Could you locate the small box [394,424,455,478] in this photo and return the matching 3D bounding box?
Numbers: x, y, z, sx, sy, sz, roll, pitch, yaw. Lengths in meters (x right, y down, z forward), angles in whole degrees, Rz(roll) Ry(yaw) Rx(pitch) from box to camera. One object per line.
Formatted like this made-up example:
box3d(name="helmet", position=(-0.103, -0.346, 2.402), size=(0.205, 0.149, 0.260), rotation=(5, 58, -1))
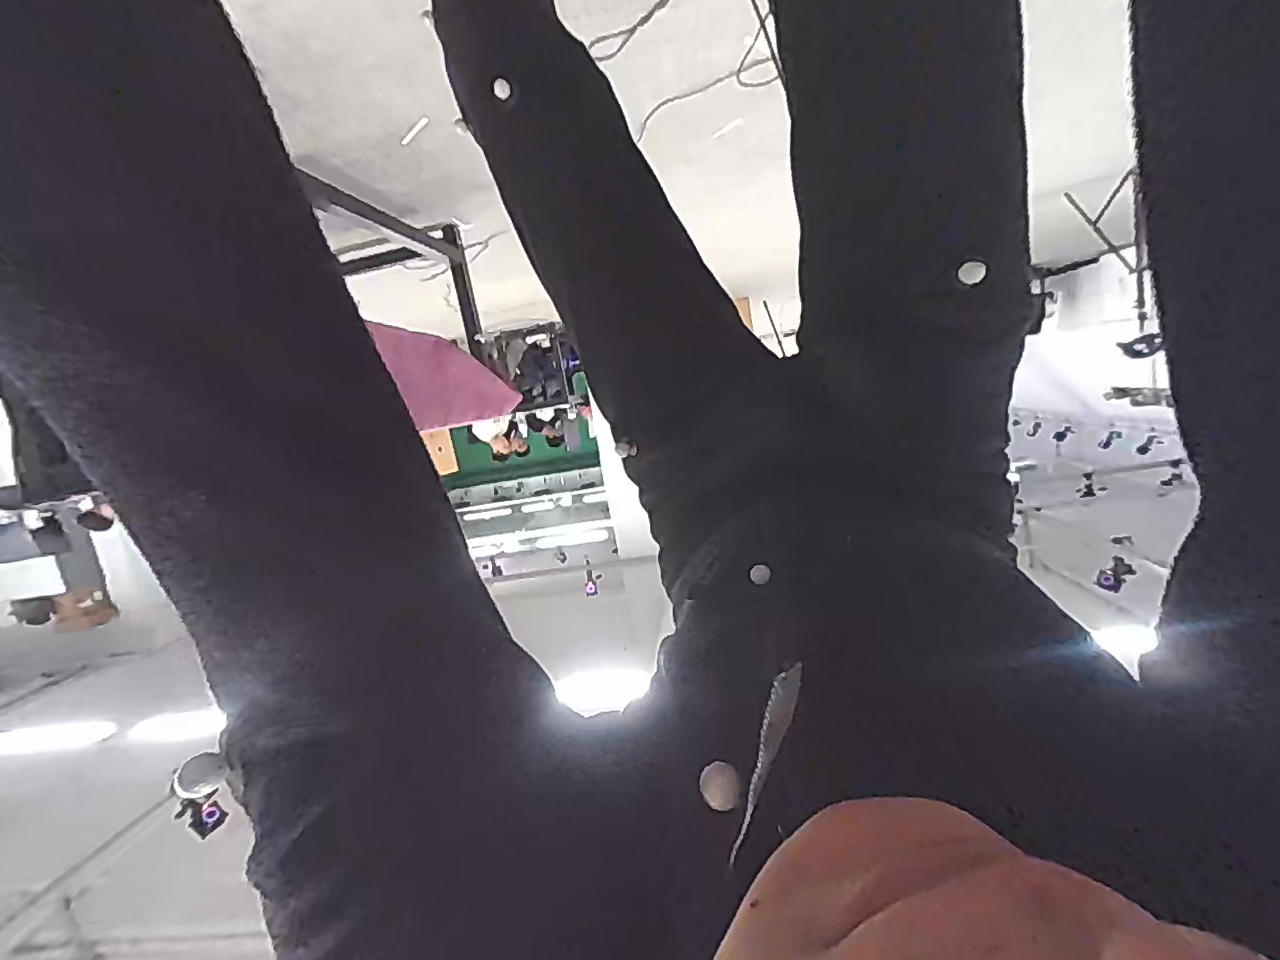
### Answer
box3d(name="small box", position=(-0.797, -0.102, 1.929), size=(0.179, 0.176, 0.168), rotation=(-7, -170, 17))
